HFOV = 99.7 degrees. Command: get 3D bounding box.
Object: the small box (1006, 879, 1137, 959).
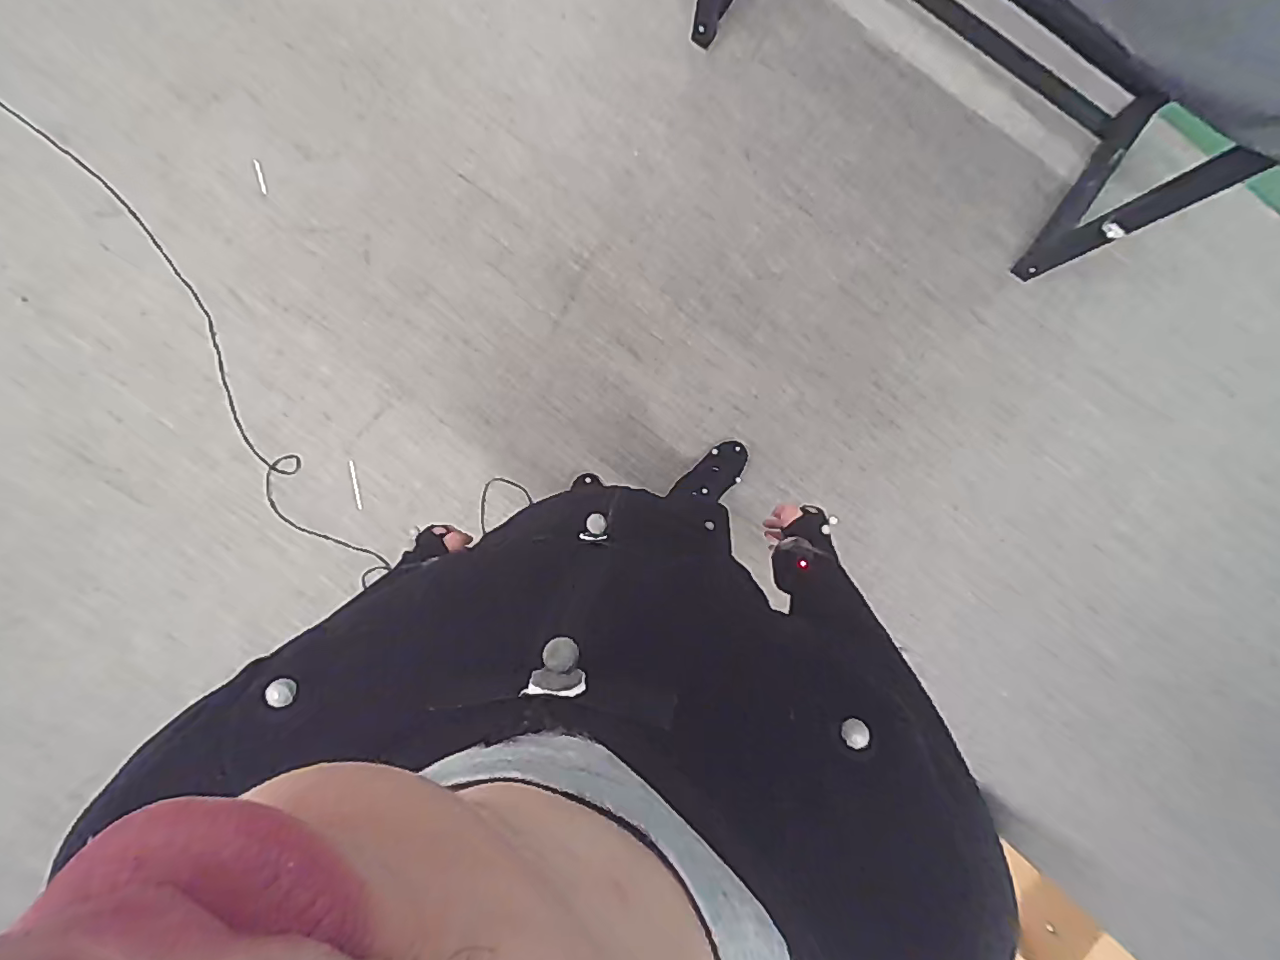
[{"bbox_3d":[0.974,1.066,1.214,0.168,0.176,0.179,44,86,-3],"label":"small box"}]
